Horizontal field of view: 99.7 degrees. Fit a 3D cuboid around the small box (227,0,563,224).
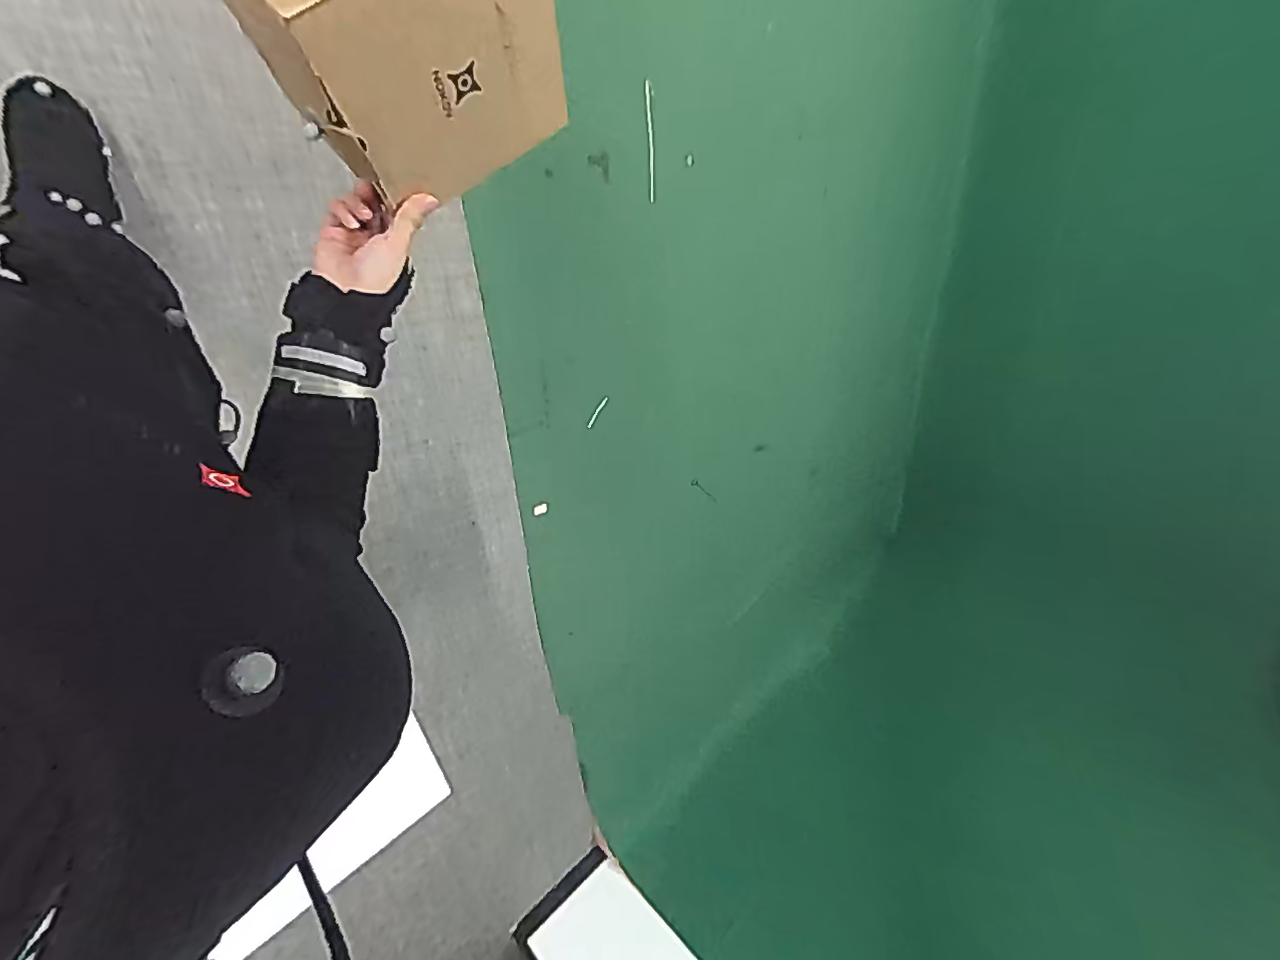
[{"bbox_3d":[-0.182,-0.339,0.391,0.179,0.176,0.168,-42,172,-10],"label":"small box"}]
